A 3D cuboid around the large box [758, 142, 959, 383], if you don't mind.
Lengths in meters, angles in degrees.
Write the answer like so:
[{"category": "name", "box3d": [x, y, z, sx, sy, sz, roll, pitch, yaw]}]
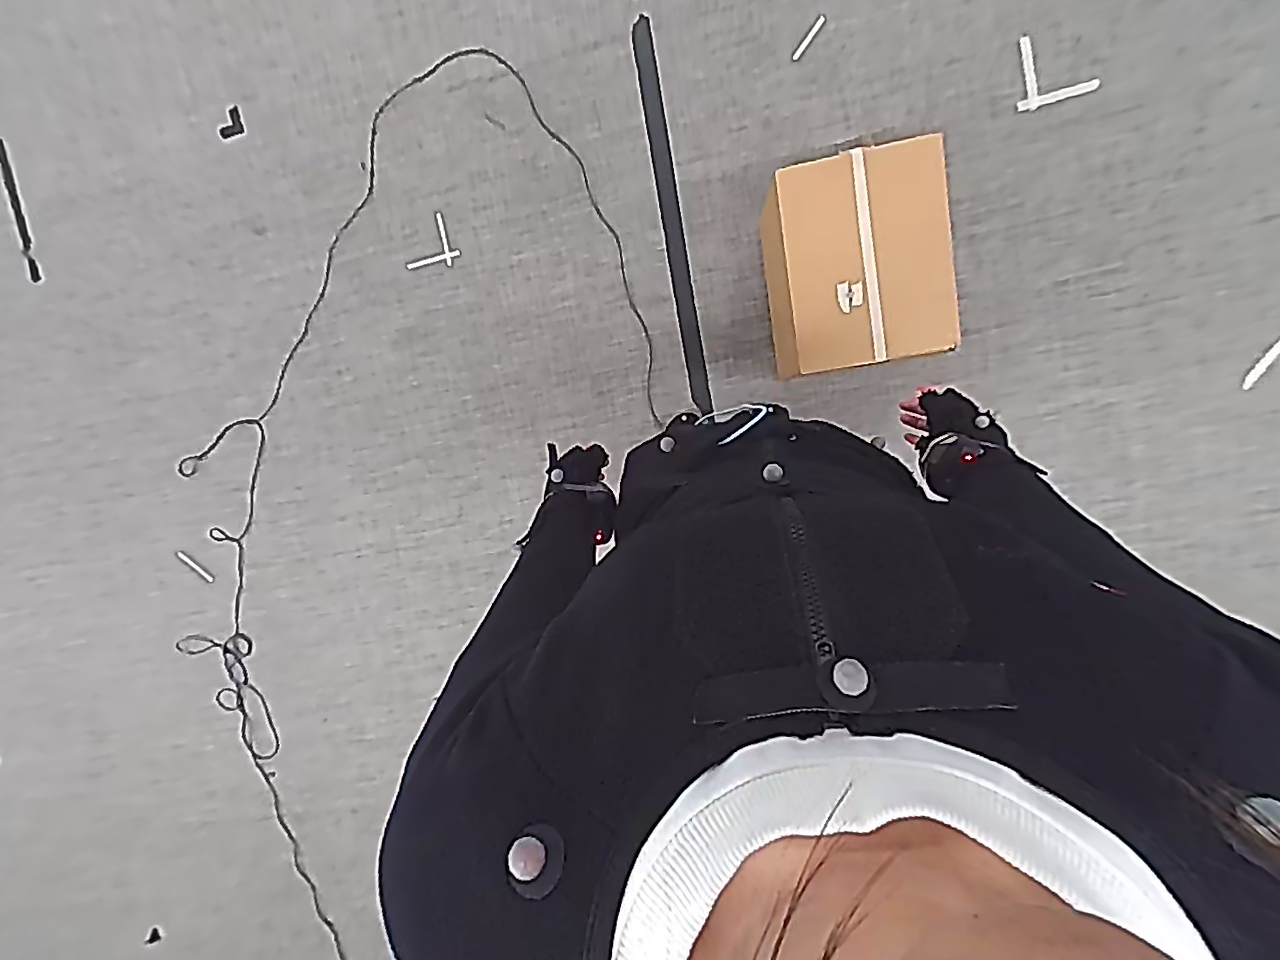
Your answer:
[{"category": "large box", "box3d": [0.465, -0.449, 1.216, 0.320, 0.320, 0.408, -9, 97, 9]}]
